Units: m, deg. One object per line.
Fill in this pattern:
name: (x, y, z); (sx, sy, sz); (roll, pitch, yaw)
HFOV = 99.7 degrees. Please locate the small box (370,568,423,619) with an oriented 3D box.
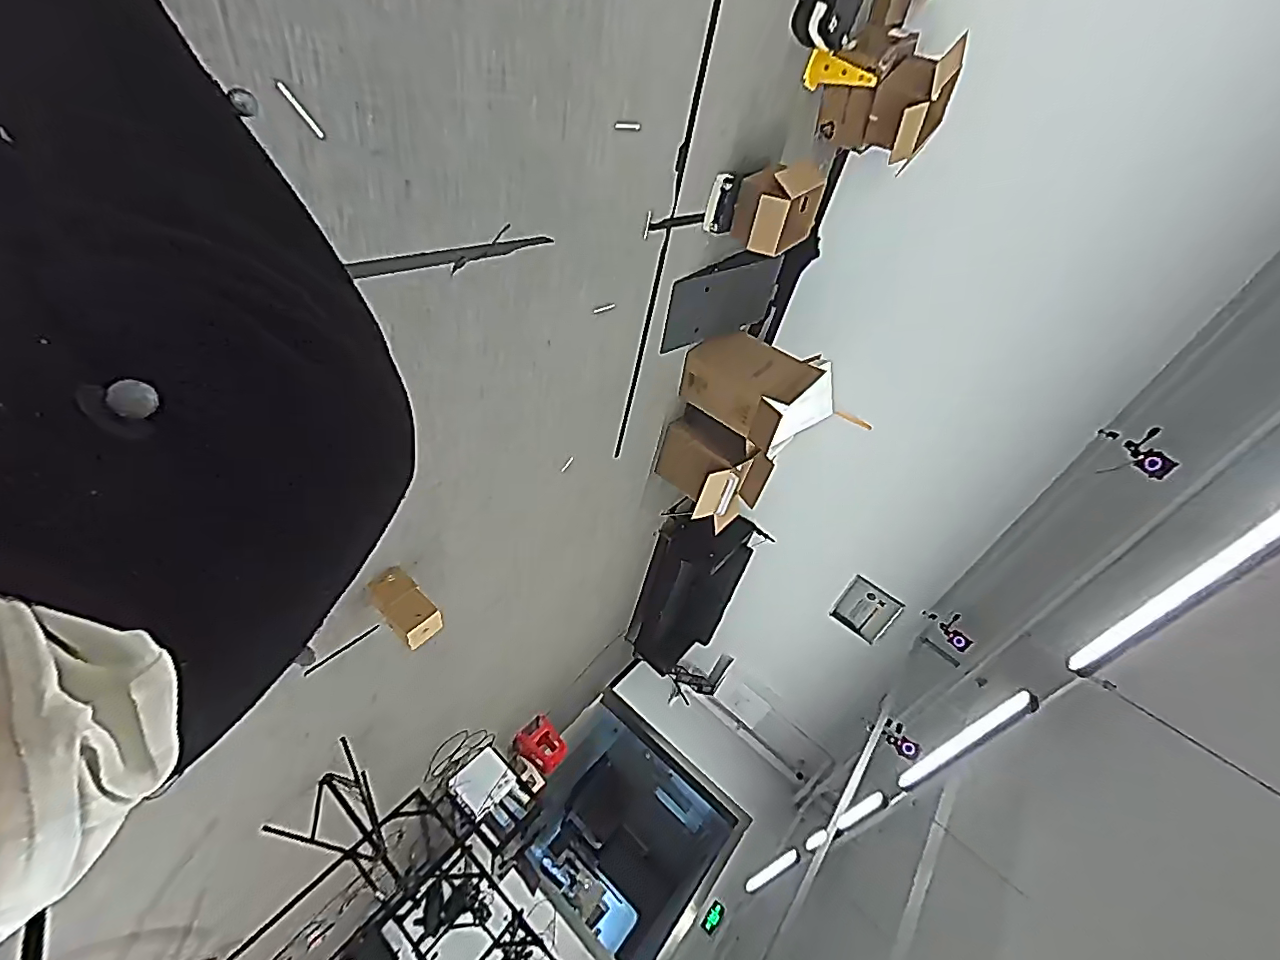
small box: (-1.160, 0.556, 2.591); (0.168, 0.176, 0.179); (-37, 152, -38)

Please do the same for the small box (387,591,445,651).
small box: (-1.044, 0.652, 2.525); (0.179, 0.176, 0.168); (-38, 153, -37)
